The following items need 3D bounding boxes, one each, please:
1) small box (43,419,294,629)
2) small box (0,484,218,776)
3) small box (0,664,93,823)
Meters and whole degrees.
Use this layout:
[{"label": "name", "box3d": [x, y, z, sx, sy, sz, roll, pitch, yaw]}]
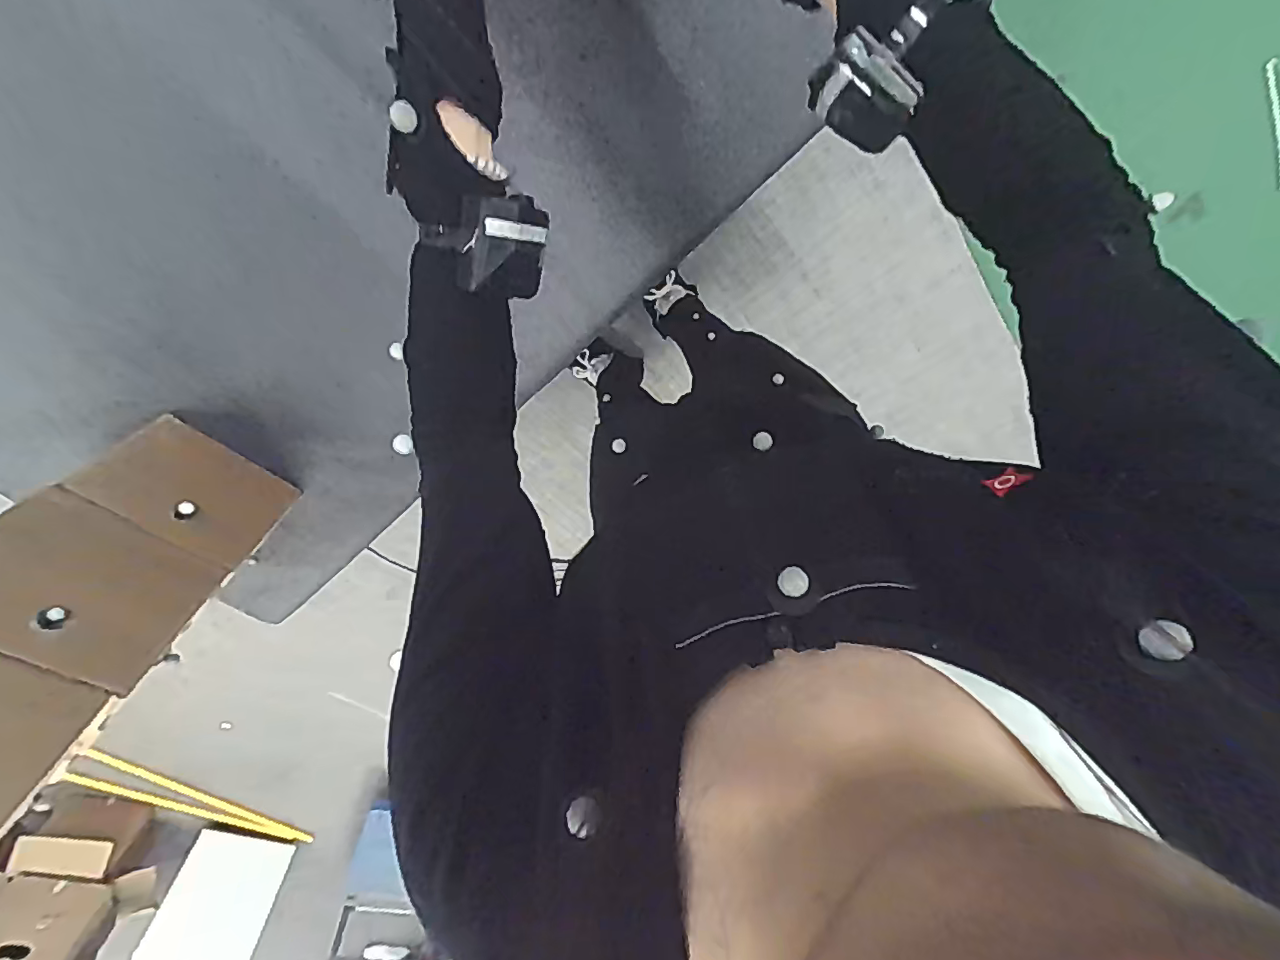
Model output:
[{"label": "small box", "box3d": [-0.570, 0.050, 0.648, 0.168, 0.176, 0.179, -41, 117, 19]}, {"label": "small box", "box3d": [-0.558, 0.135, 0.509, 0.168, 0.176, 0.179, -41, 117, 18]}, {"label": "small box", "box3d": [-0.551, 0.219, 0.368, 0.179, 0.176, 0.168, 39, 110, -25]}]
